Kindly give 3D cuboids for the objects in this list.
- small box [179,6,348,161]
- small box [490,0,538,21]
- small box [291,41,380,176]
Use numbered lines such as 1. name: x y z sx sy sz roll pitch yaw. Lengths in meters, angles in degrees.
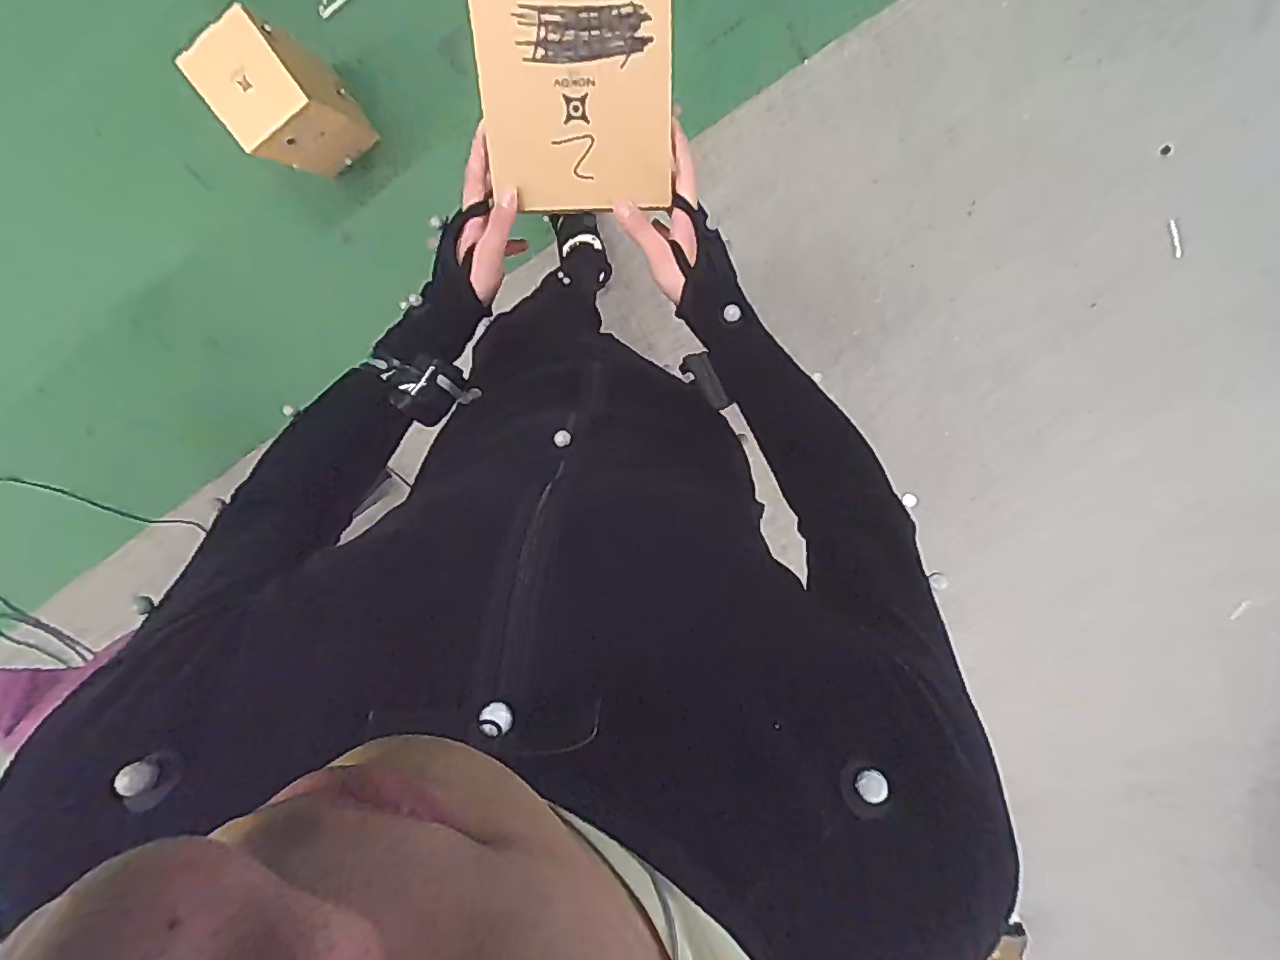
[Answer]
1. small box: -0.726 -0.762 1.069 0.168 0.176 0.179 -31 109 11
2. small box: -0.280 -1.113 1.114 0.168 0.176 0.179 -29 111 9
3. small box: -0.733 -0.822 1.219 0.168 0.176 0.179 -30 111 11
